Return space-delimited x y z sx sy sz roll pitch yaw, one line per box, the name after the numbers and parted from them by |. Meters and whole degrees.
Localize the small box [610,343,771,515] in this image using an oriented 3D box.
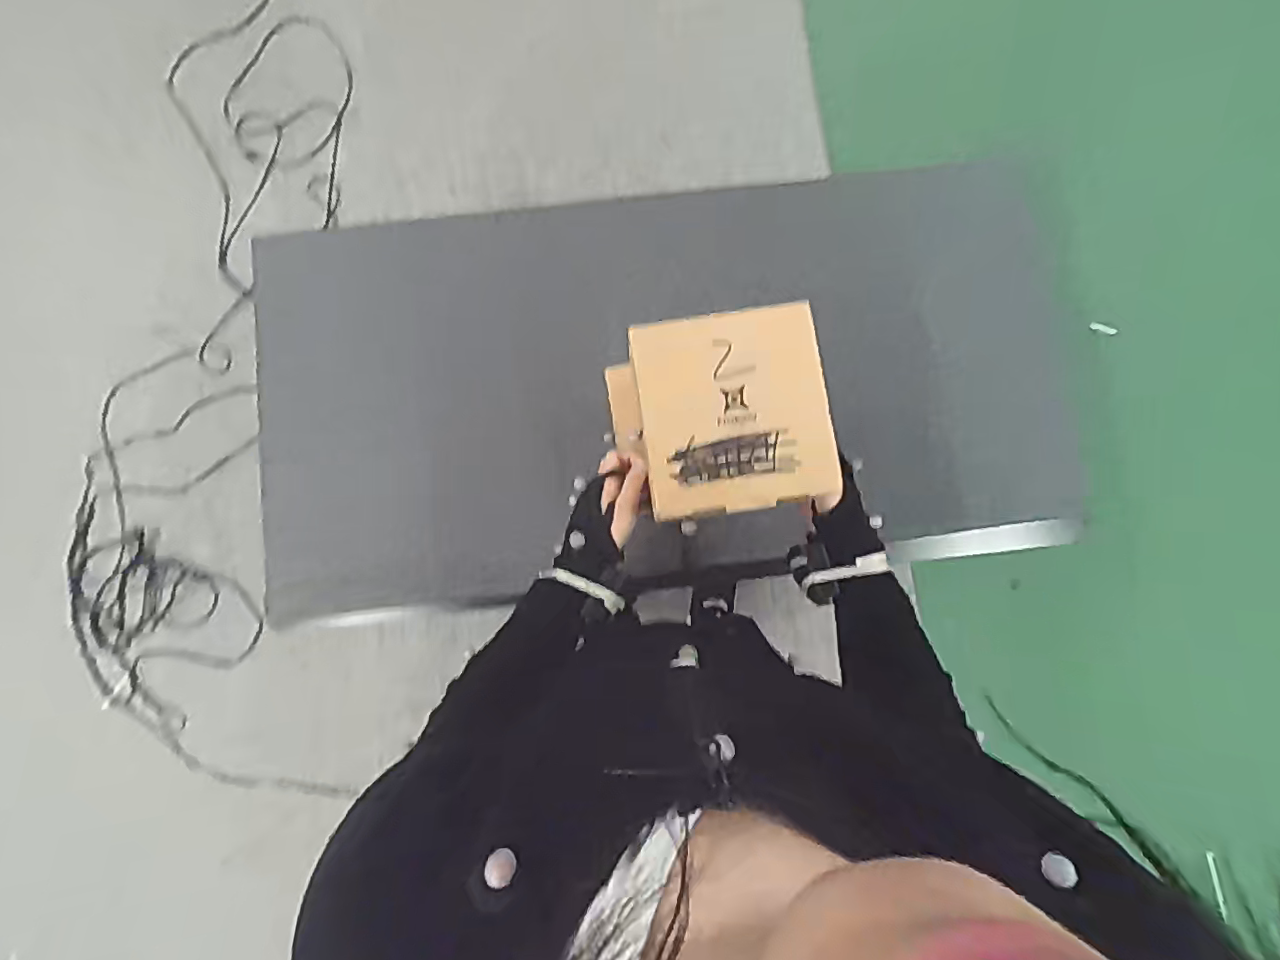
0.056 -0.056 0.705 0.168 0.176 0.179 -10 84 -1 | small box
